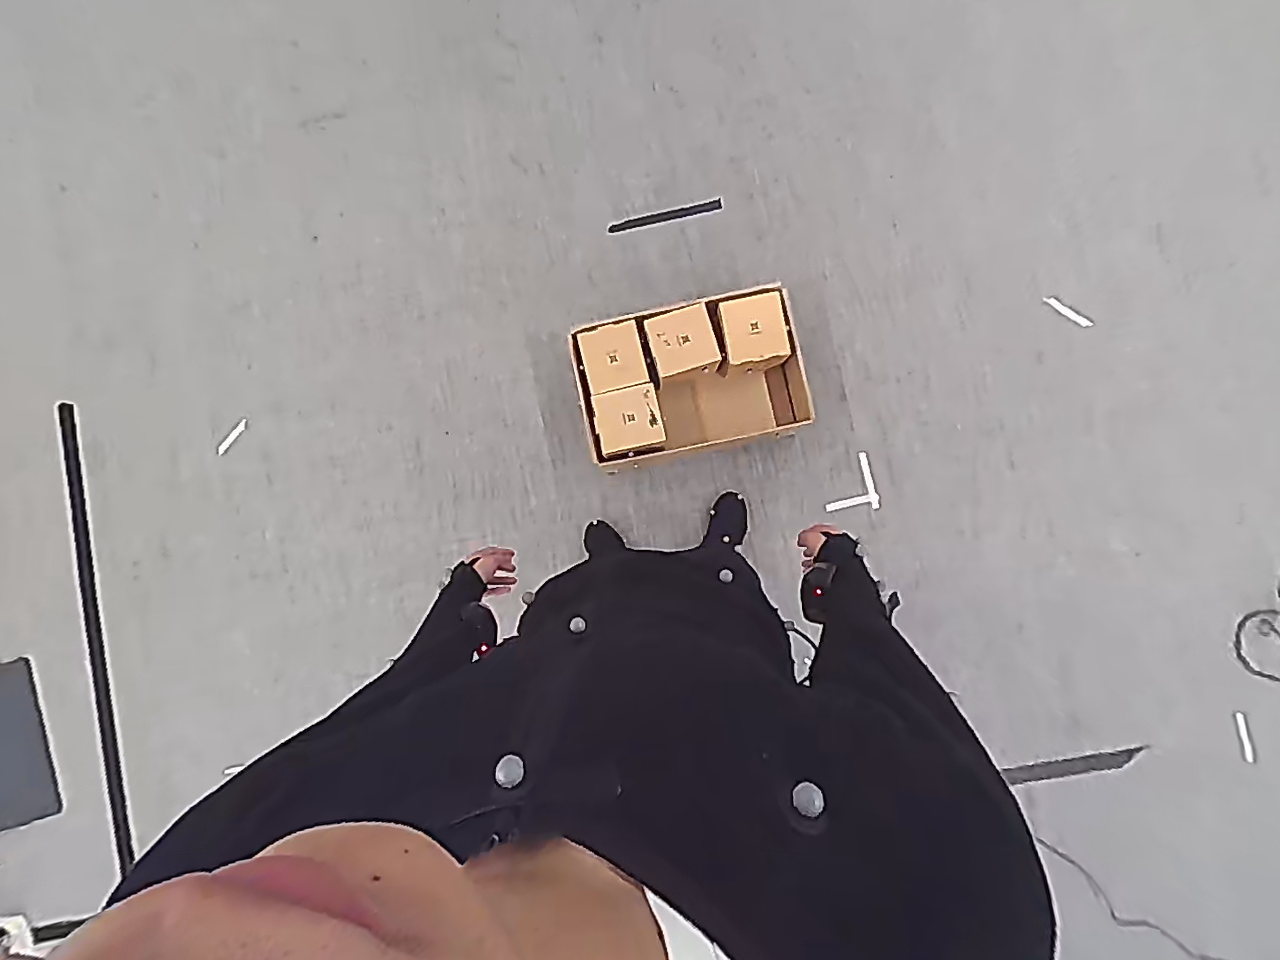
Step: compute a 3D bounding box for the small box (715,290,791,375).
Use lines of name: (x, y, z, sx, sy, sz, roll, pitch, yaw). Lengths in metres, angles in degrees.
small box: (0.313, -0.411, 1.530, 0.168, 0.176, 0.179, -11, 90, 3)
